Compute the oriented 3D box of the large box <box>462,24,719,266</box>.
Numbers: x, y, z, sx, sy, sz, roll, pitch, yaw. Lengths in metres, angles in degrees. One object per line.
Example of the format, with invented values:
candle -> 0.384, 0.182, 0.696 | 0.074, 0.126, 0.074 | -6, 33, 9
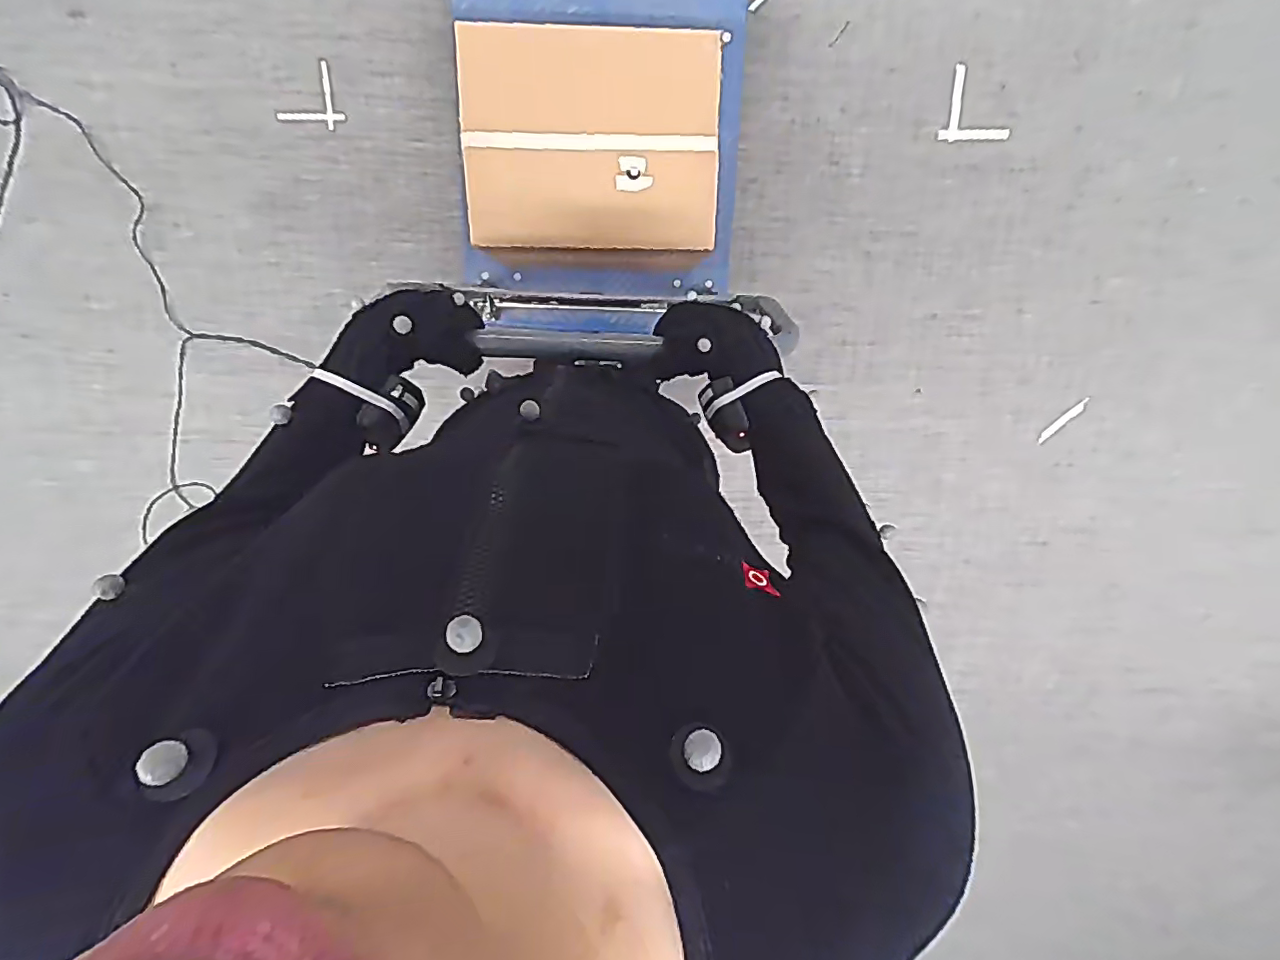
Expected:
large box -> -0.083, -0.587, 1.013 | 0.408, 0.320, 0.320 | -1, 106, -3
